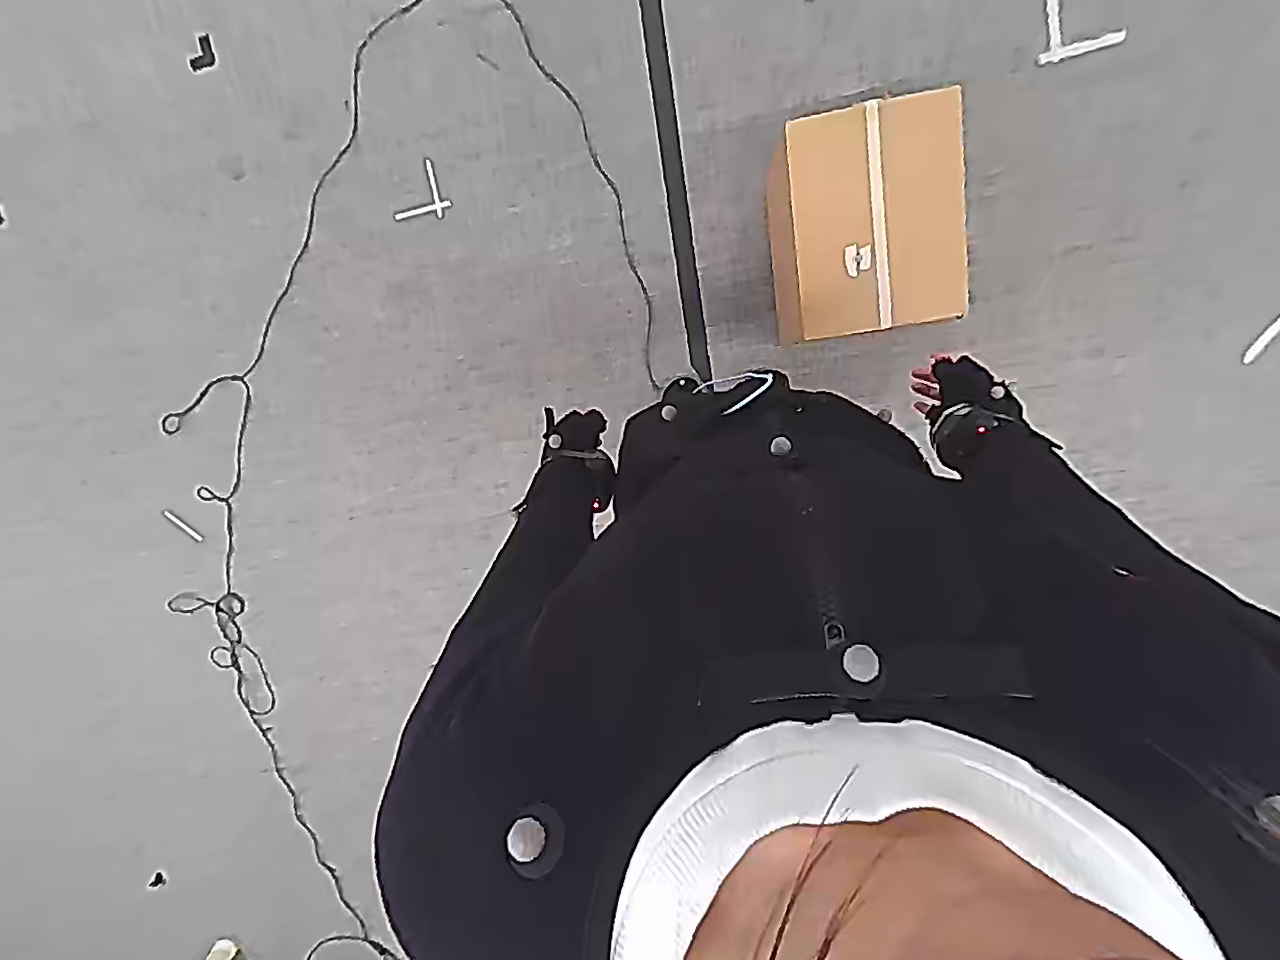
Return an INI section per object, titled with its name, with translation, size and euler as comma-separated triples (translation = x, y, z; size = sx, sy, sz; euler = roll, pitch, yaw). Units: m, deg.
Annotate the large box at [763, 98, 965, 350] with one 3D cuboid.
[large box]
translation = 0.465, -0.514, 1.180
size = 0.320, 0.320, 0.408
euler = -8, 101, 8
